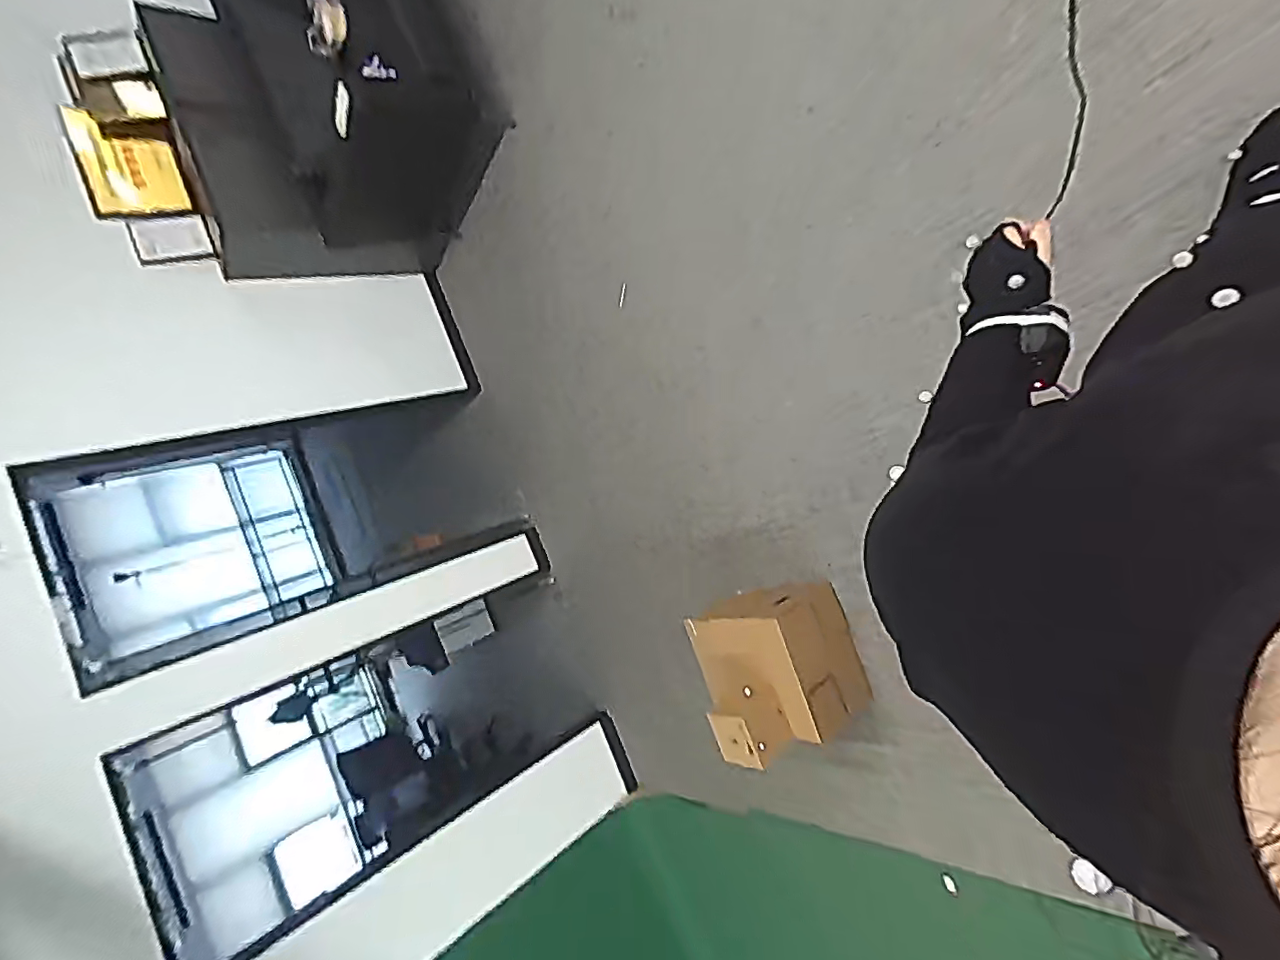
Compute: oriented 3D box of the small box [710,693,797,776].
[{"bbox_3d":[0.361,0.796,1.713,0.179,0.176,0.168,-23,88,54],"label":"small box"}]
